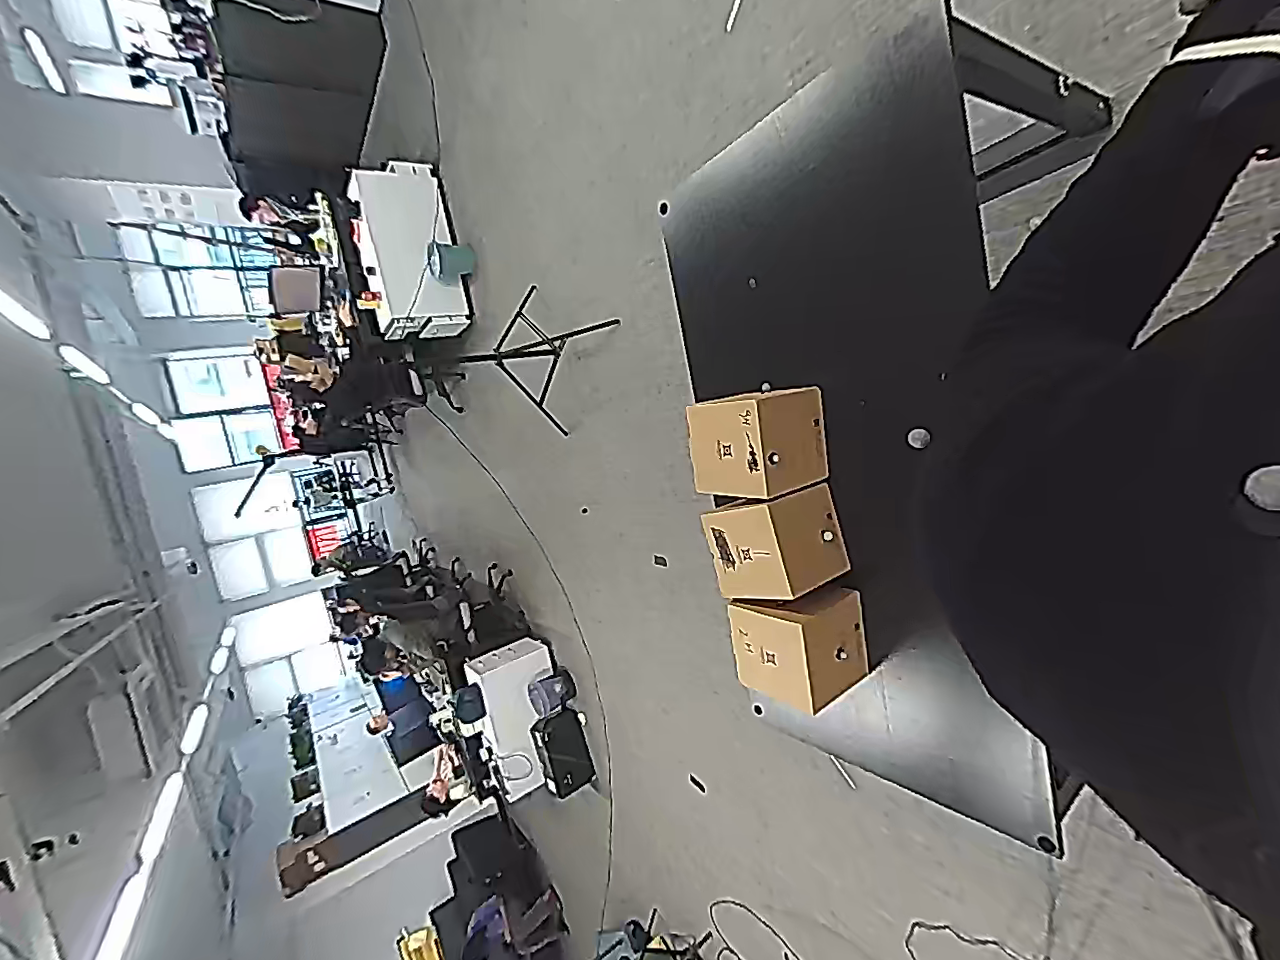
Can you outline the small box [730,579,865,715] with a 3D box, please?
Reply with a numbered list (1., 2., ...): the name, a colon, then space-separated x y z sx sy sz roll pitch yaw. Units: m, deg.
1. small box: 0.294 0.293 0.997 0.179 0.176 0.168 1 102 56
